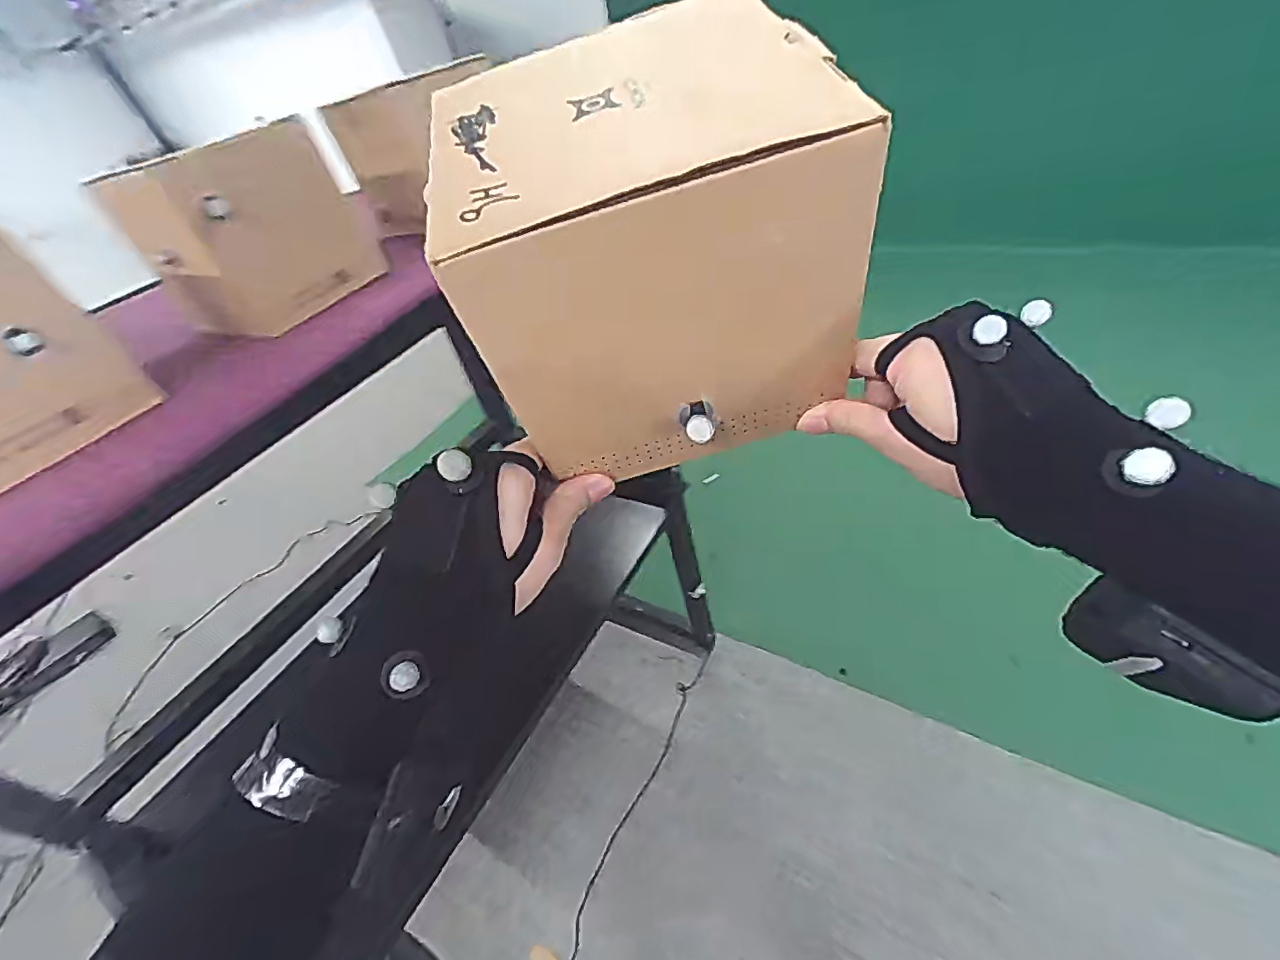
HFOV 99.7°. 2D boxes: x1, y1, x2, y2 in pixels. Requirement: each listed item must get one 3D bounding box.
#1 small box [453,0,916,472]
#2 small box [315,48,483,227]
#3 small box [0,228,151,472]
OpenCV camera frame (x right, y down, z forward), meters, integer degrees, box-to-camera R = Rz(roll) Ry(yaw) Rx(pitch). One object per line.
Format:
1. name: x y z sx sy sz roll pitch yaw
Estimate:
1. small box: 0.016 -0.129 0.305 0.179 0.176 0.168 -15 54 3
2. small box: -0.296 -0.469 0.760 0.168 0.176 0.179 14 49 31
3. small box: -0.570 -0.105 0.448 0.179 0.176 0.168 14 49 32
